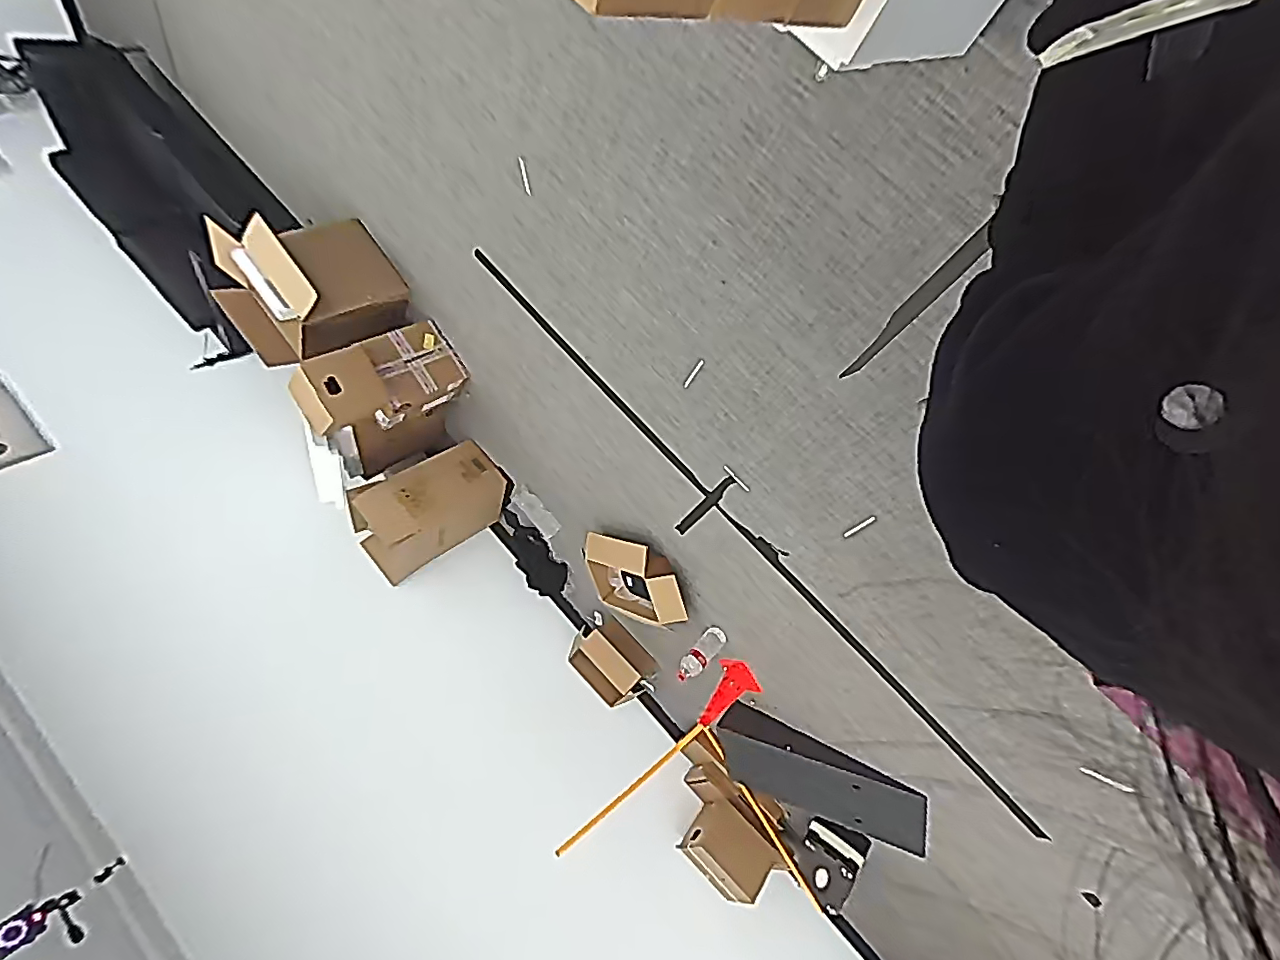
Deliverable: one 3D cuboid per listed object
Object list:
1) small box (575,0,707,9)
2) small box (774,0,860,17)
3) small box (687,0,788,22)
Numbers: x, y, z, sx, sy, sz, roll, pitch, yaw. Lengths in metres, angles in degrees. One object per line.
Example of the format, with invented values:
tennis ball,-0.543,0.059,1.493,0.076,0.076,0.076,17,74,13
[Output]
small box,-0.016,-0.518,0.433,0.179,0.176,0.168,46,145,9
small box,0.196,-0.674,0.625,0.179,0.176,0.168,49,144,8
small box,0.091,-0.595,0.528,0.179,0.176,0.168,47,144,9
